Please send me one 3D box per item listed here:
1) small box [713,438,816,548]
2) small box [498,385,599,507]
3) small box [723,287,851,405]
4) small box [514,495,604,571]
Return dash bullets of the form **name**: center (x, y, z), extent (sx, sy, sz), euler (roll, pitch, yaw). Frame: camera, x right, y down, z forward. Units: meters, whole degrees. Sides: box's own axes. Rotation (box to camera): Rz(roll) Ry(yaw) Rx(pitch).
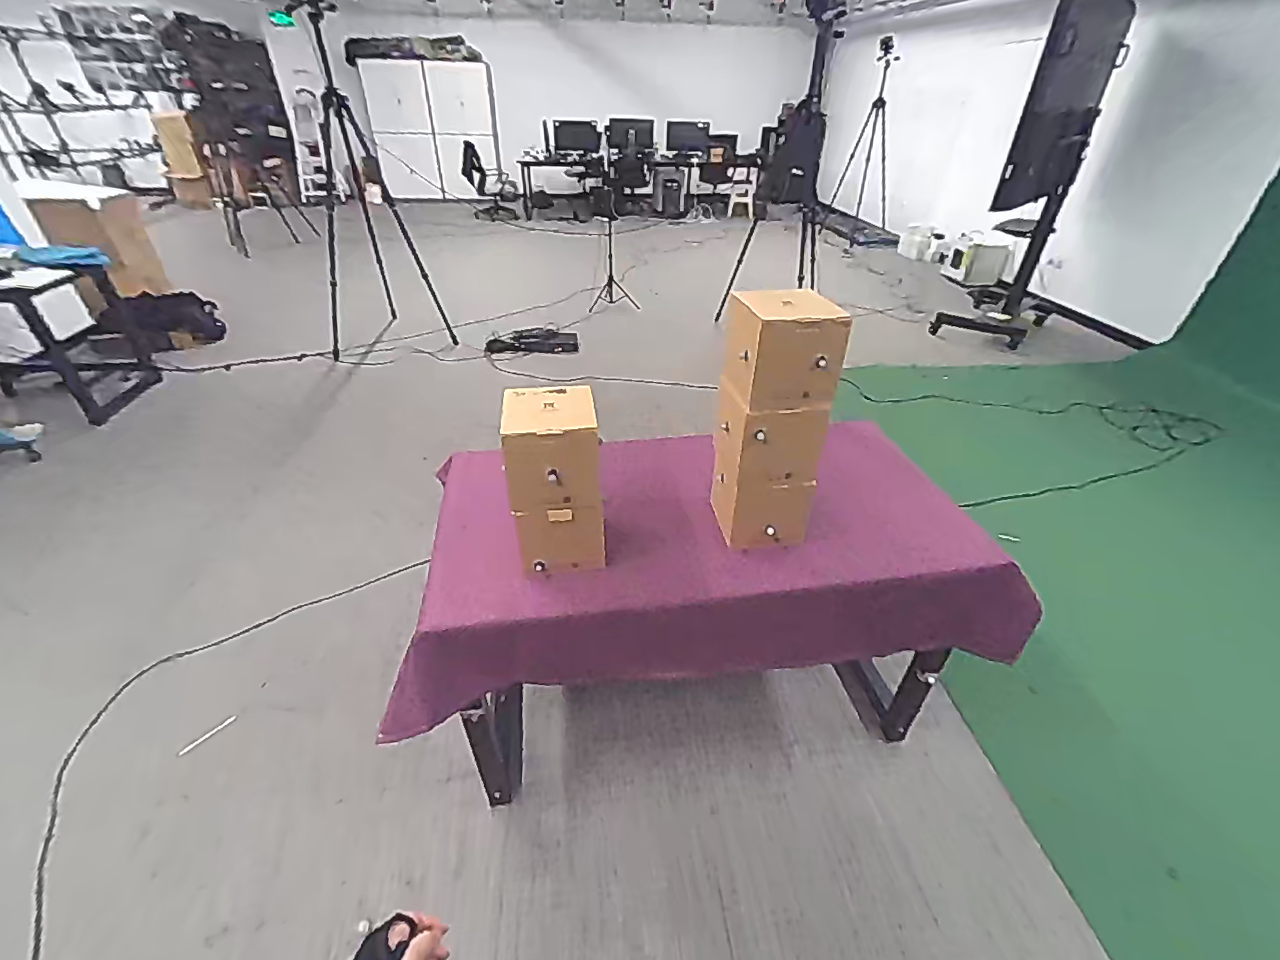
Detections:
- **small box**: center (0.260, 0.026, 1.182), extent (0.168, 0.176, 0.179), euler (-4, 36, -6)
- **small box**: center (-0.167, -0.061, 1.018), extent (0.168, 0.176, 0.179), euler (-4, 37, -7)
- **small box**: center (0.259, -0.246, 0.999), extent (0.168, 0.176, 0.179), euler (-5, 35, -9)
- **small box**: center (-0.165, 0.073, 1.113), extent (0.168, 0.176, 0.179), euler (-5, 35, -9)
